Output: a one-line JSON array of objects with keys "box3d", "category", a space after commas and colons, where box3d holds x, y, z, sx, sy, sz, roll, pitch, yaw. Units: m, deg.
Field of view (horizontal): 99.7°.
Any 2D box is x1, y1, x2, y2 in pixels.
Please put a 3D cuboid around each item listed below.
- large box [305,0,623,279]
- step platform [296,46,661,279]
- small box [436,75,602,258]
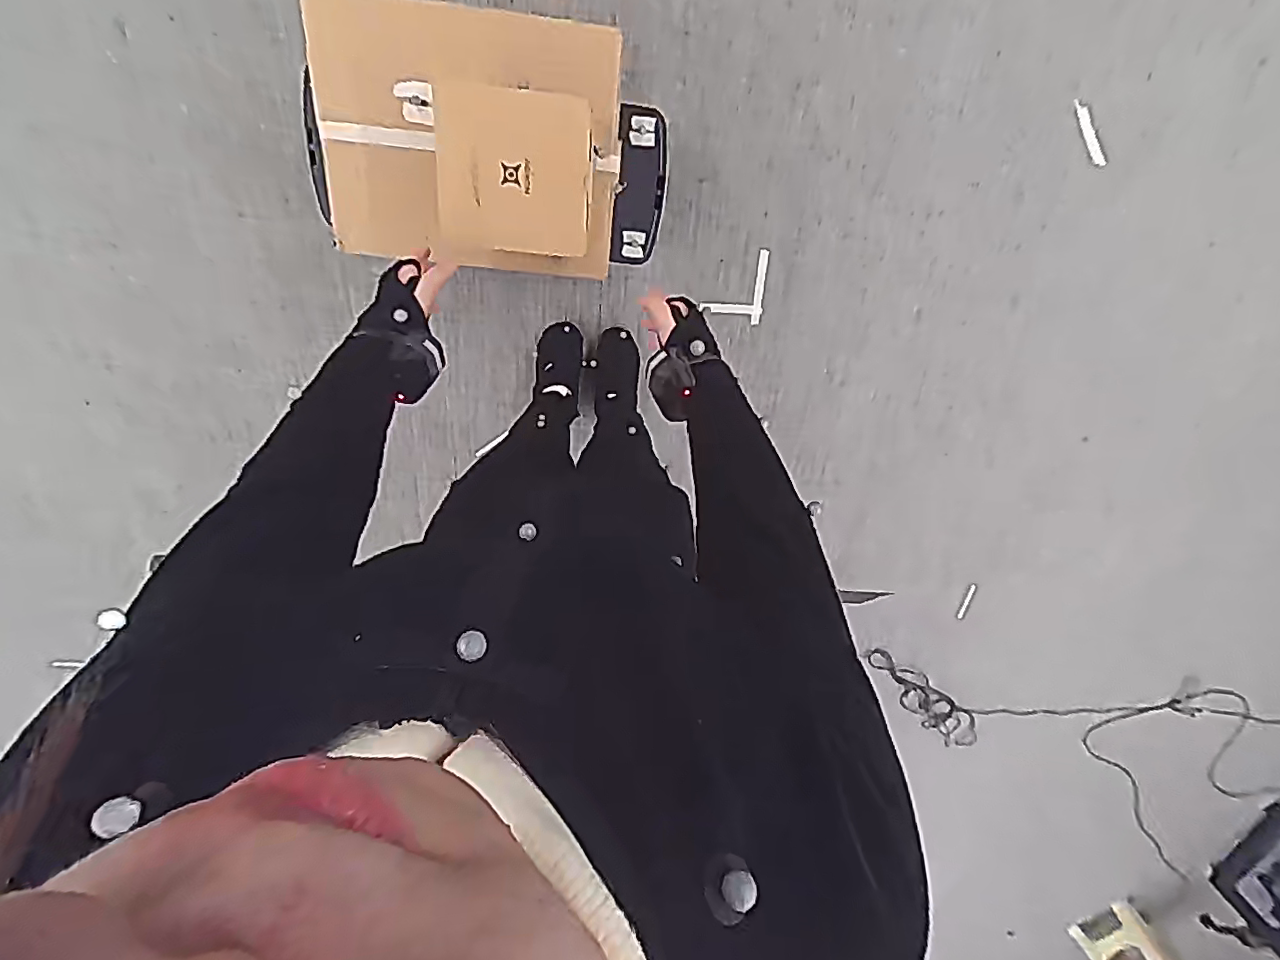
[{"box3d": [-0.234, -0.523, 0.879, 0.408, 0.320, 0.320, 4, 116, -4], "category": "large box"}, {"box3d": [-0.302, -0.617, 1.094, 0.684, 0.204, 0.286, 9, 116, -7], "category": "step platform"}, {"box3d": [-0.140, -0.384, 0.679, 0.179, 0.176, 0.168, 4, 117, -5], "category": "small box"}]
